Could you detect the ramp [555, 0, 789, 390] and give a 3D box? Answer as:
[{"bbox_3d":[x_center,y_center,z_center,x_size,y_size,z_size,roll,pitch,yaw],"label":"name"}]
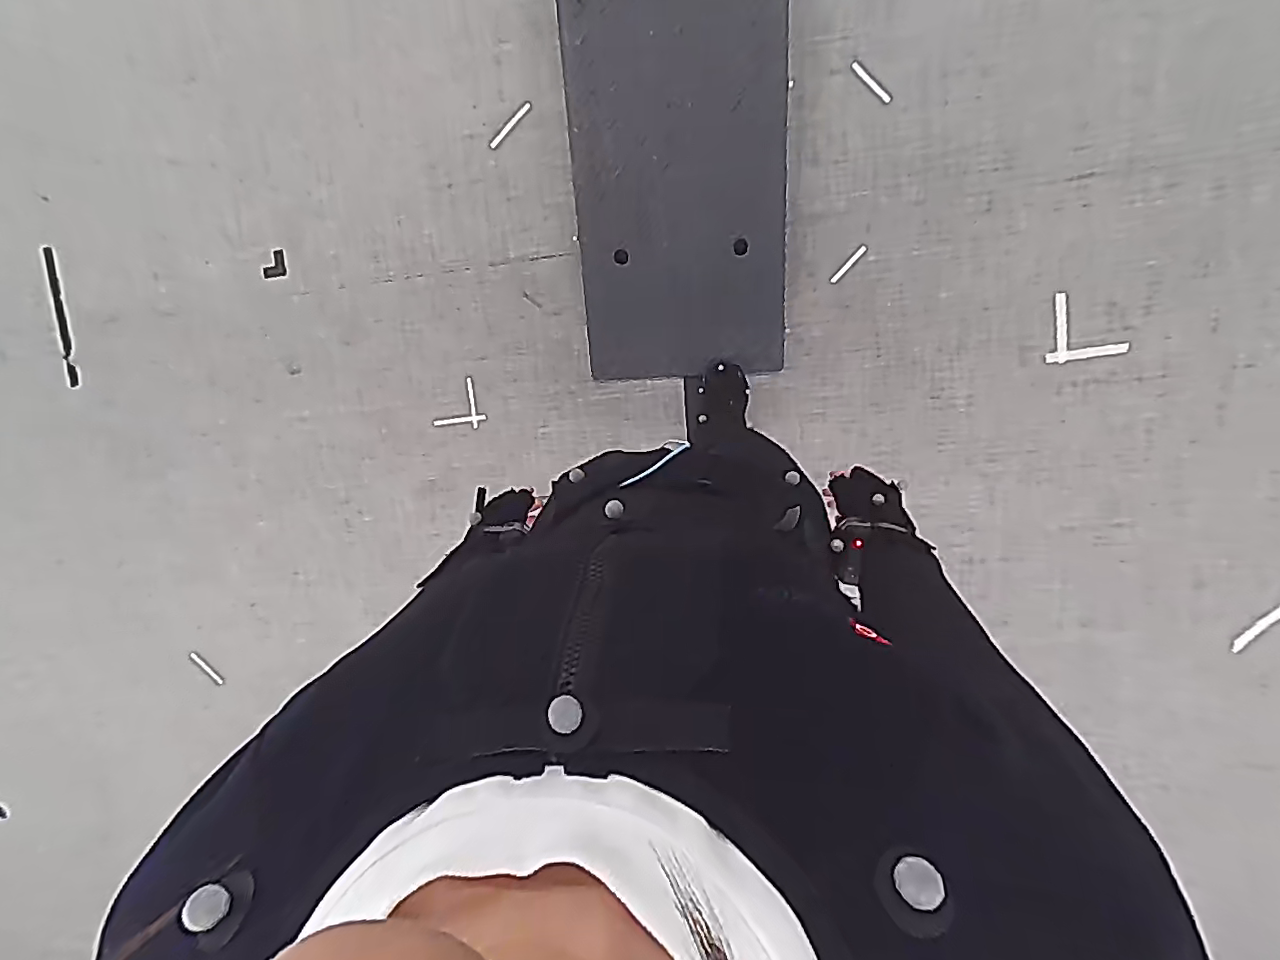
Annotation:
[{"bbox_3d":[0.090,-0.725,1.253,0.509,0.206,0.991,-5,97,8],"label":"ramp"}]
